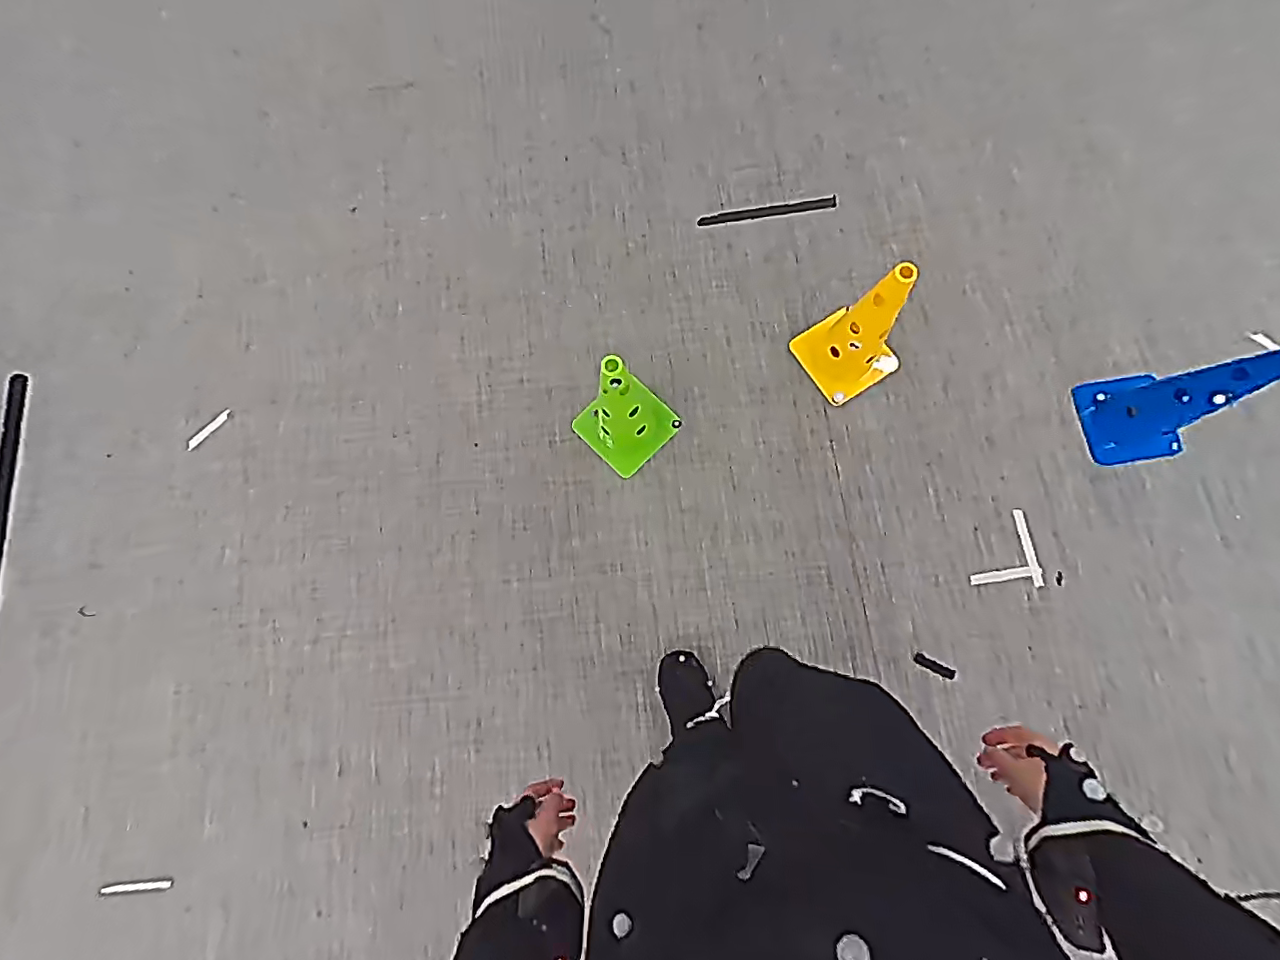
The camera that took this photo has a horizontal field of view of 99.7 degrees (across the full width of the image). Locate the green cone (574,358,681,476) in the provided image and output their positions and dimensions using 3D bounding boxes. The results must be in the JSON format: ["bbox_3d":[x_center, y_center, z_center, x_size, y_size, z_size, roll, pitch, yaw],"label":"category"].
[{"bbox_3d":[-0.043,-0.170,1.135,0.200,0.368,0.202,43,85,11],"label":"green cone"}]
